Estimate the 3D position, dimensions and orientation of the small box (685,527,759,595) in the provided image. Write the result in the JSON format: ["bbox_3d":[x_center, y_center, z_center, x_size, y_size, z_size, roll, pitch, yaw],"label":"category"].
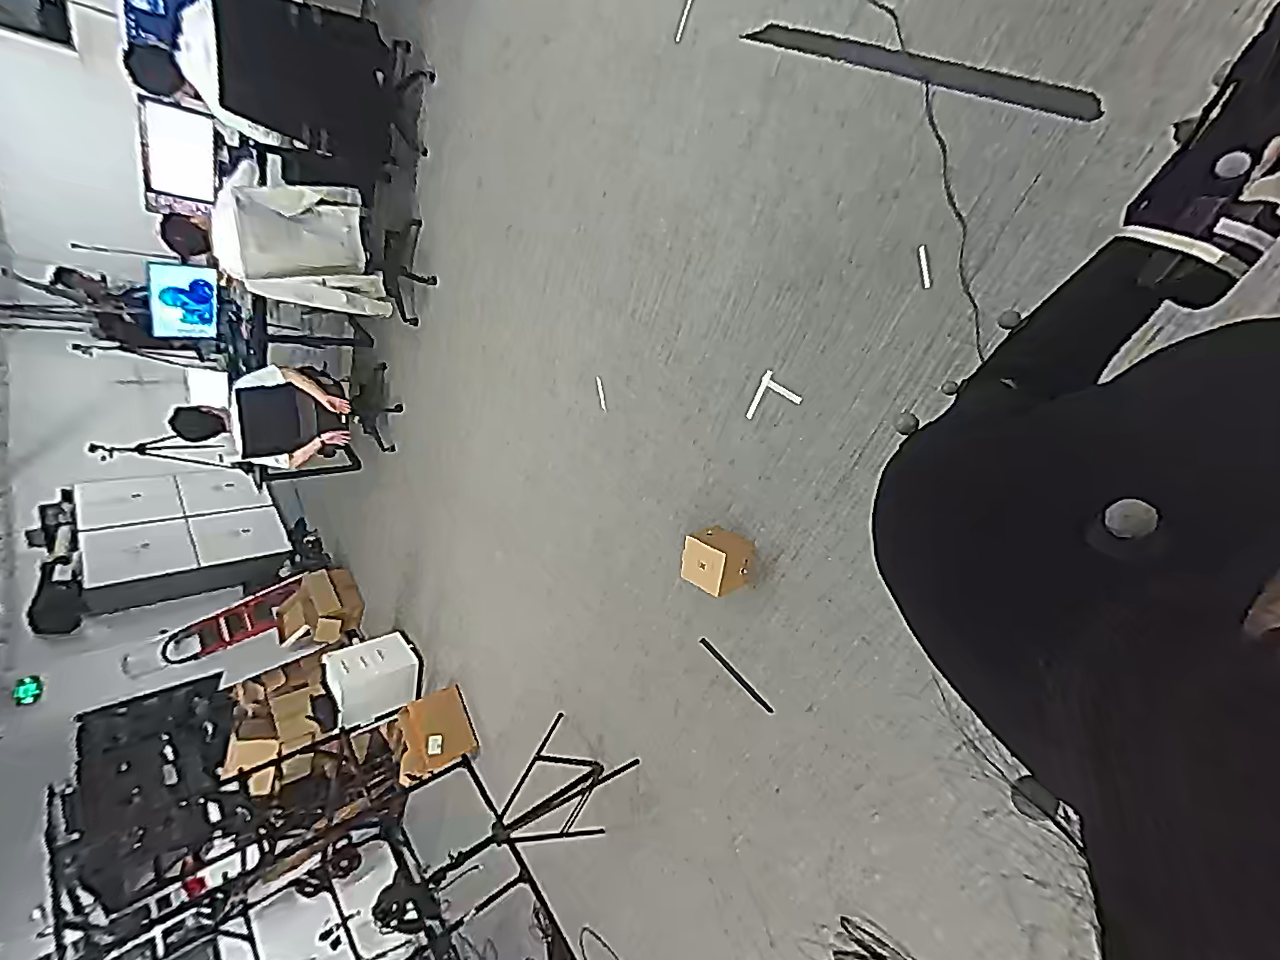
[{"bbox_3d":[0.285,0.272,1.882,0.179,0.176,0.168,23,114,41],"label":"small box"}]
